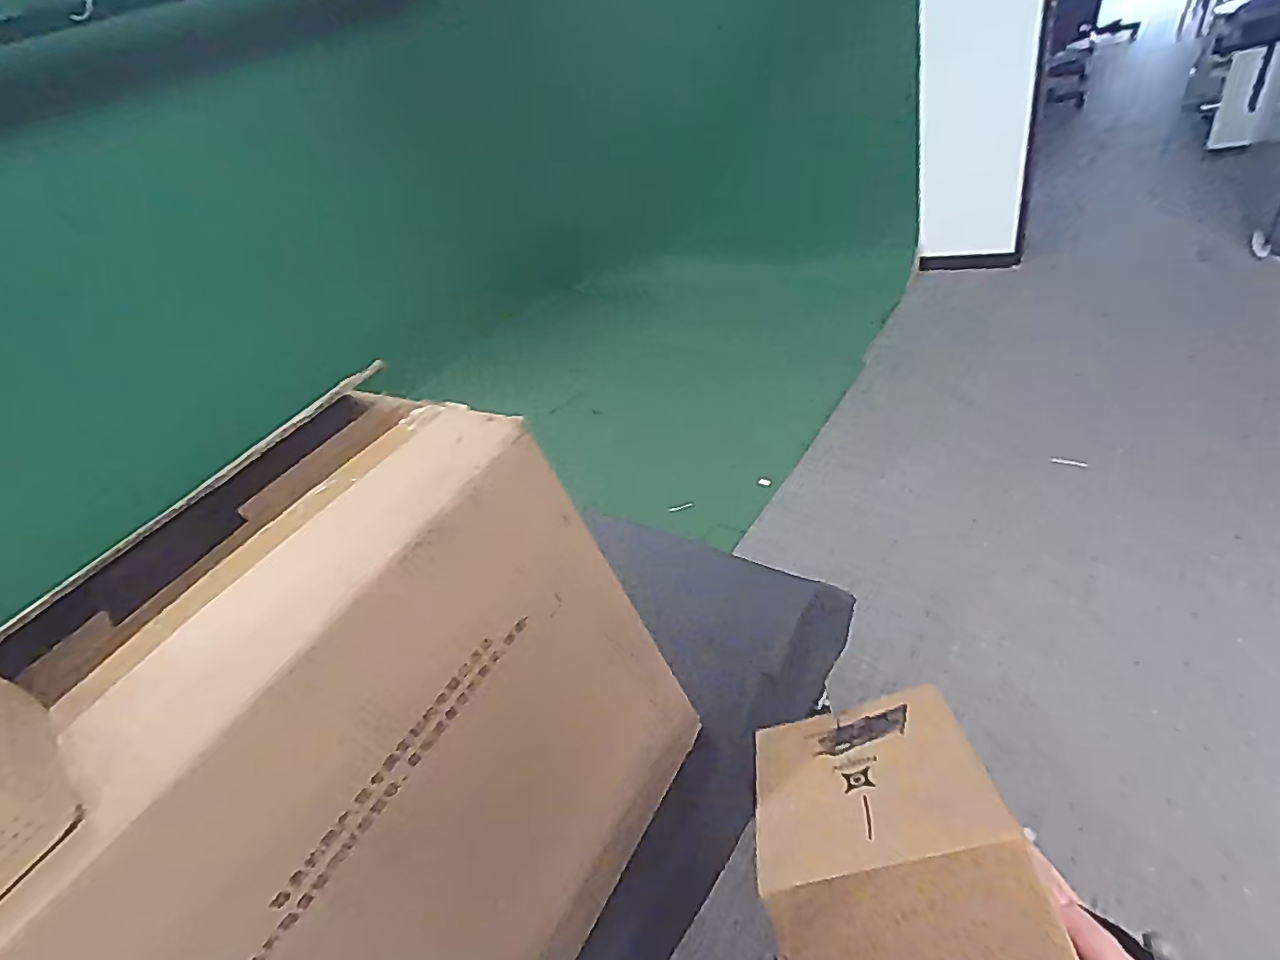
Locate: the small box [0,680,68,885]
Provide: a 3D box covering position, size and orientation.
[{"bbox_3d":[-0.455,0.175,0.271,0.179,0.176,0.168,13,52,36],"label":"small box"}]

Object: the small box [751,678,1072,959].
[{"bbox_3d":[0.197,0.291,0.417,0.168,0.176,0.179,-24,5,16],"label":"small box"}]
